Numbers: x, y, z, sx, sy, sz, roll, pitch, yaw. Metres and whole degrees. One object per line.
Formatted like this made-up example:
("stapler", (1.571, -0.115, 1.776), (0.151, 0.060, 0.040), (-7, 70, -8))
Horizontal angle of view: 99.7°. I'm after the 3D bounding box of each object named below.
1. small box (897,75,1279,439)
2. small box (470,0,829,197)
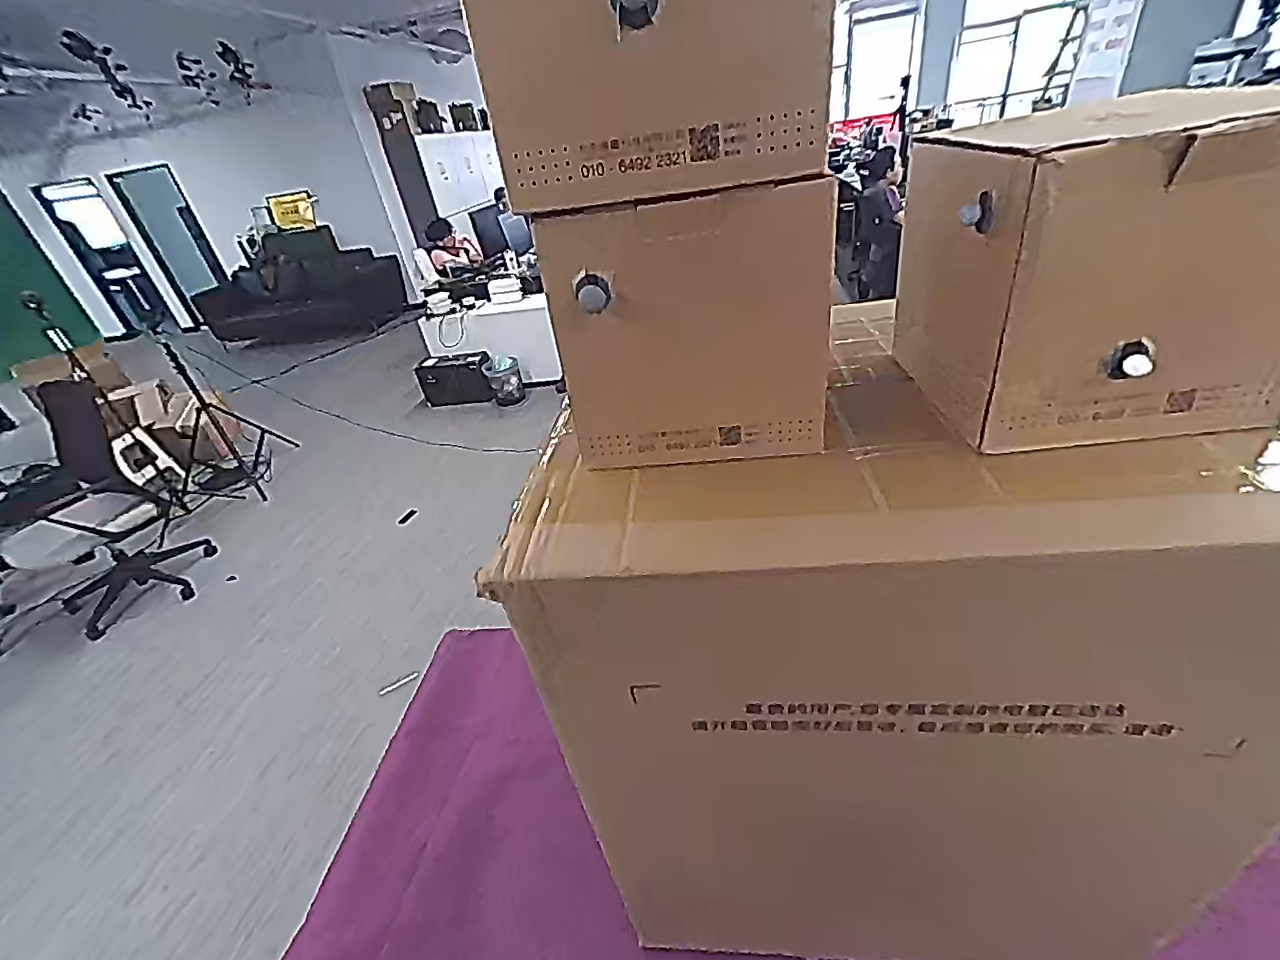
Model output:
("small box", (0.283, -0.144, 0.351), (0.168, 0.176, 0.179), (-6, 34, 8))
("small box", (0.006, -0.265, 0.304), (0.168, 0.176, 0.179), (-5, 33, 5))
